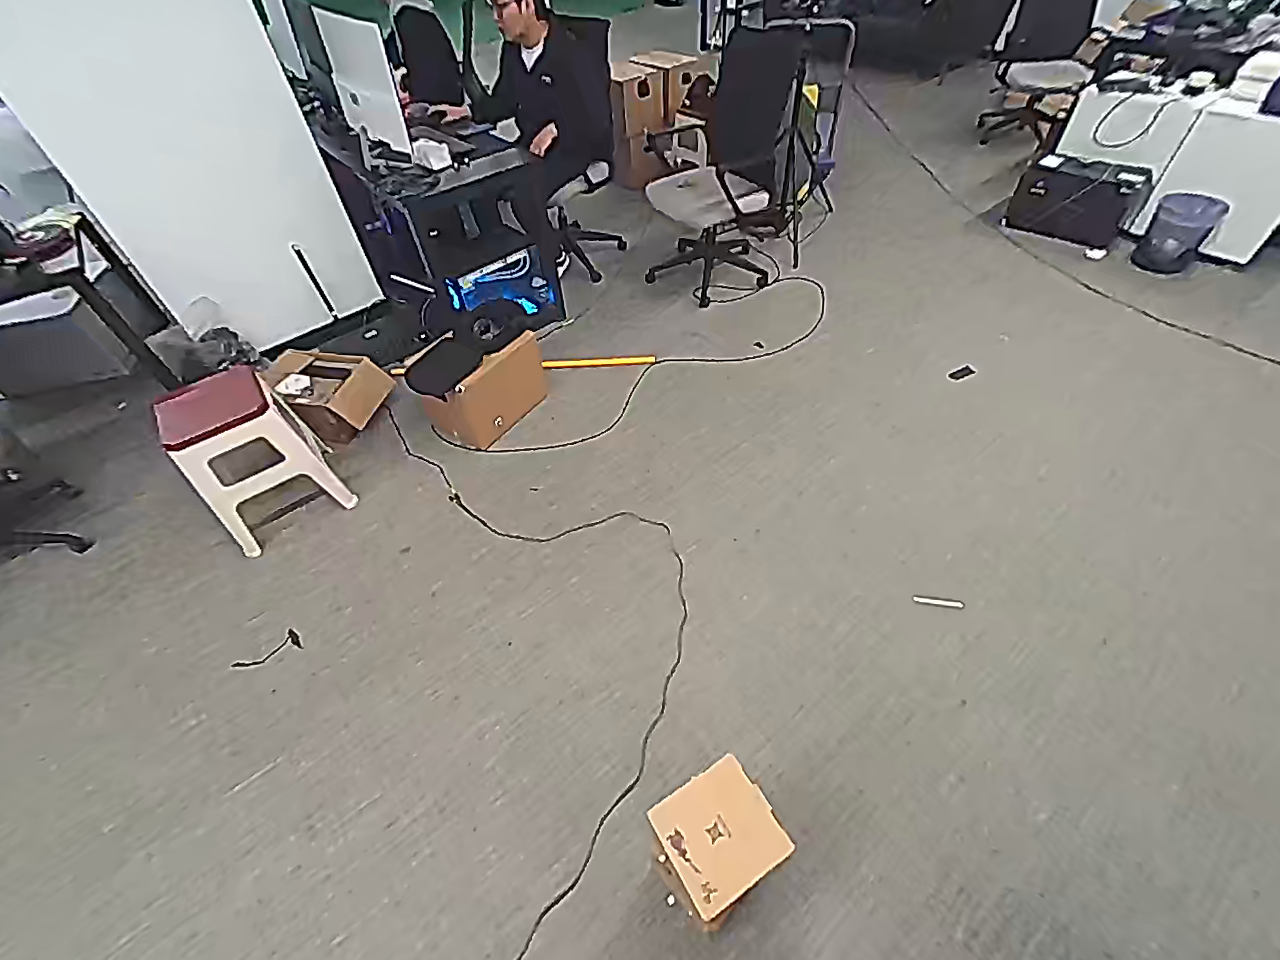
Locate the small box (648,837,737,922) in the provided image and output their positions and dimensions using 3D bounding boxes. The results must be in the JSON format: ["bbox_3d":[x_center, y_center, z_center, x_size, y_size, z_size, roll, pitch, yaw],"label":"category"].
[{"bbox_3d":[0.135,0.708,1.043,0.168,0.176,0.179,36,59,28],"label":"small box"}]

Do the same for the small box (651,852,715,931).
[{"bbox_3d":[0.141,0.819,1.161,0.179,0.176,0.168,-37,56,-24],"label":"small box"}]

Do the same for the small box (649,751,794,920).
[{"bbox_3d":[0.128,0.602,0.917,0.179,0.176,0.168,-26,53,-19],"label":"small box"}]
